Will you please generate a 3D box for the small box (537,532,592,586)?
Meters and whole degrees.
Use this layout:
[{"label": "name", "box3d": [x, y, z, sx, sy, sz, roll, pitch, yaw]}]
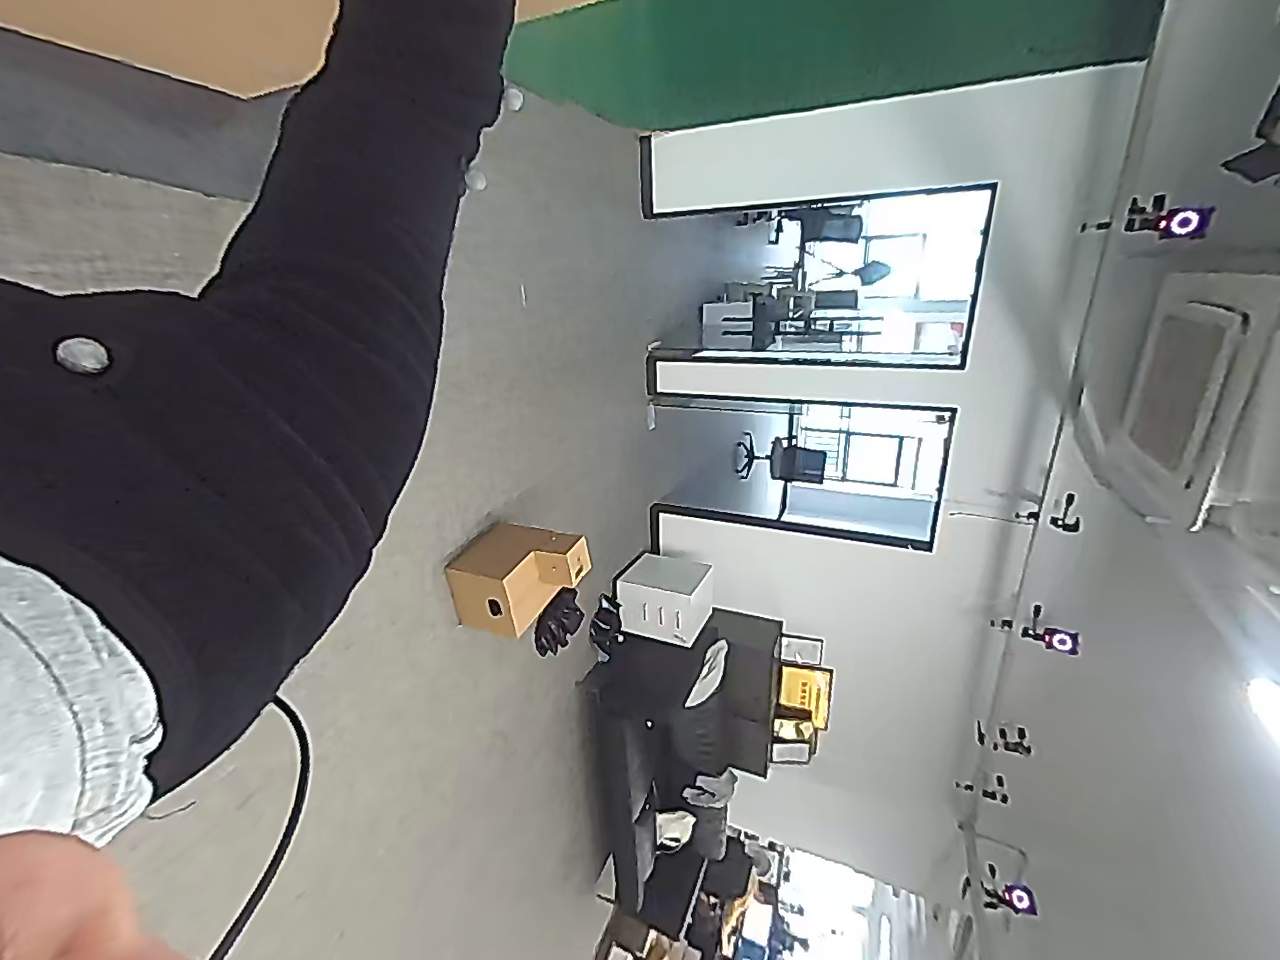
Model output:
[{"label": "small box", "box3d": [-0.338, 0.348, 2.413, 0.168, 0.176, 0.179, -46, 134, -55]}]
